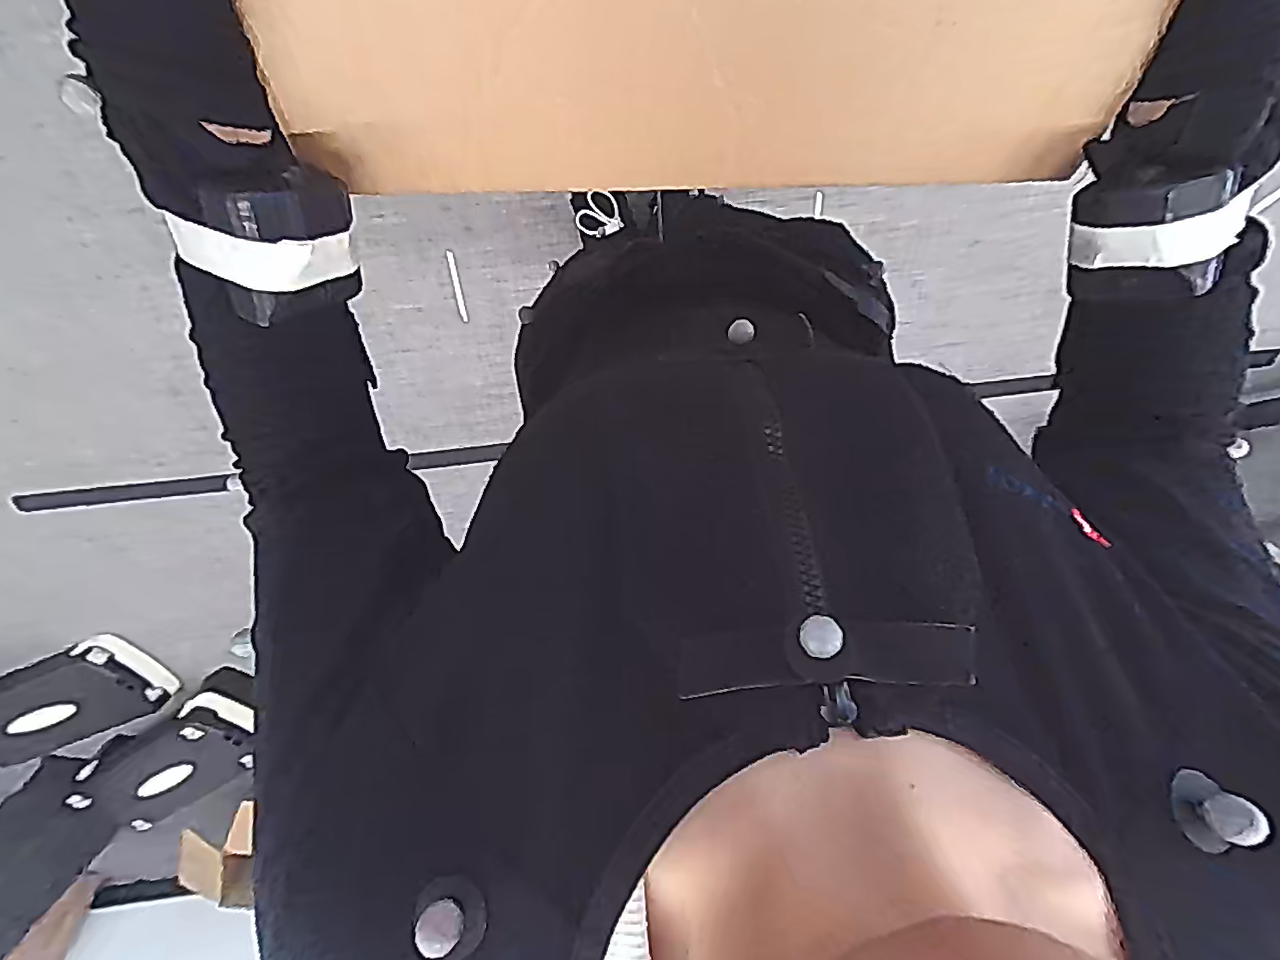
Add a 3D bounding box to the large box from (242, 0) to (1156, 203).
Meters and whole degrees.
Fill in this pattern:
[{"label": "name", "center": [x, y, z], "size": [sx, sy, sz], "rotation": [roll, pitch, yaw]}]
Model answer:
[{"label": "large box", "center": [0.027, -0.368, 0.249], "size": [0.408, 0.320, 0.320], "rotation": [-3, 148, -4]}]
